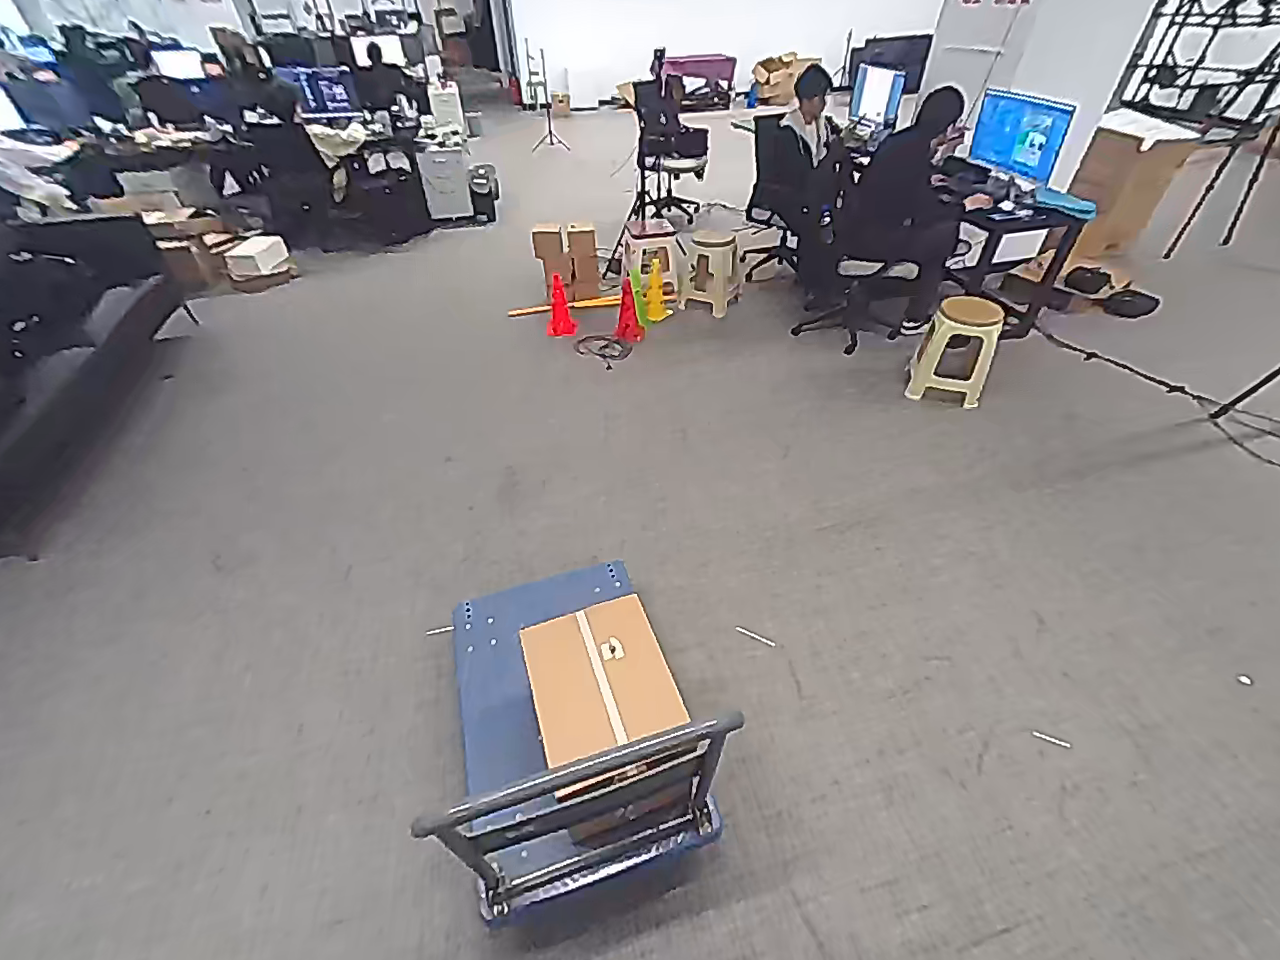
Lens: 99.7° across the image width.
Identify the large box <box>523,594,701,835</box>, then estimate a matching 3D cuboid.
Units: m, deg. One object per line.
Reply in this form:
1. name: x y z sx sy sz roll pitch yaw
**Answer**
1. large box: -0.074 0.568 1.342 0.320 0.320 0.408 -14 44 -14
